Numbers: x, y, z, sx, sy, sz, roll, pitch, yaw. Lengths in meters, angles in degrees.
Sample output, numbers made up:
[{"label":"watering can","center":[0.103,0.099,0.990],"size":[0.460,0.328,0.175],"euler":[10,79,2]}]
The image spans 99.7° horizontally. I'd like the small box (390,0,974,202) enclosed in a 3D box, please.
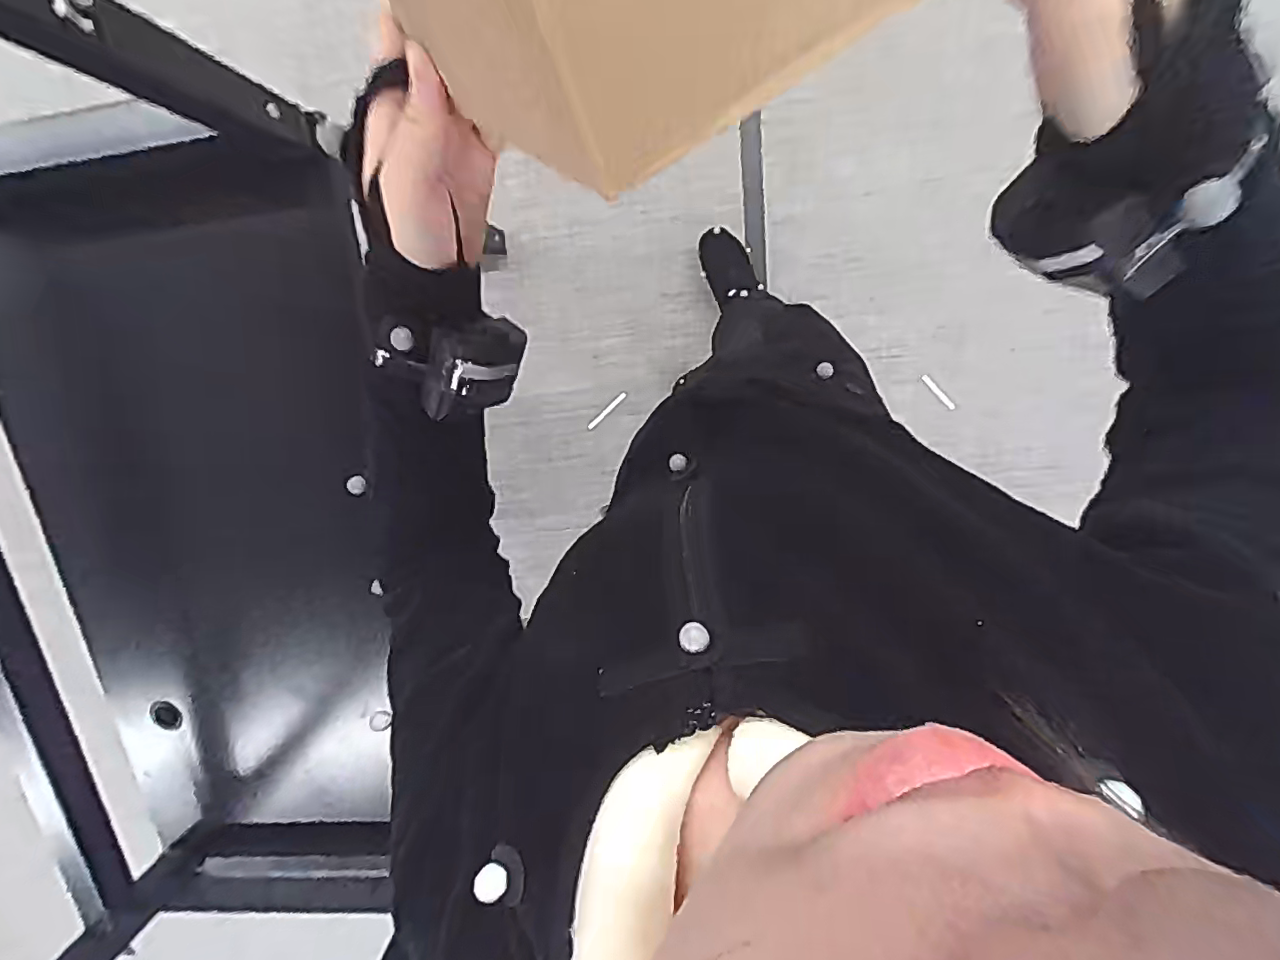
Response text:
[{"label":"small box","center":[0.000,-0.223,0.161],"size":[0.179,0.176,0.168],"euler":[-35,140,-8]}]
